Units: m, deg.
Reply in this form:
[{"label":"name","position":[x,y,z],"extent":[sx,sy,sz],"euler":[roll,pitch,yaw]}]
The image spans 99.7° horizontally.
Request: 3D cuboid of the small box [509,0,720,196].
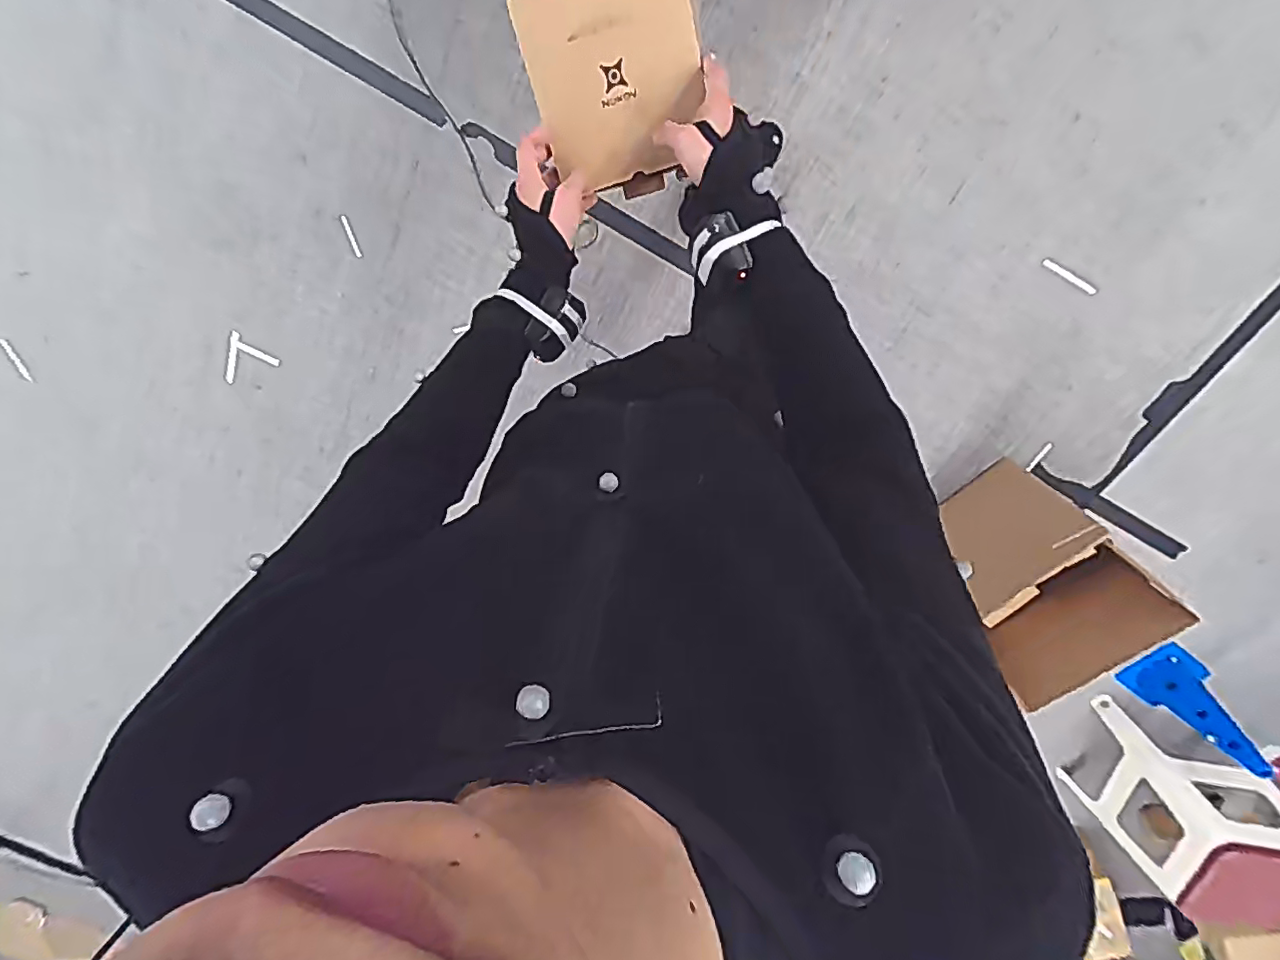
[{"label":"small box","position":[-0.010,-0.427,0.576],"extent":[0.168,0.176,0.179],"euler":[-9,120,15]}]
